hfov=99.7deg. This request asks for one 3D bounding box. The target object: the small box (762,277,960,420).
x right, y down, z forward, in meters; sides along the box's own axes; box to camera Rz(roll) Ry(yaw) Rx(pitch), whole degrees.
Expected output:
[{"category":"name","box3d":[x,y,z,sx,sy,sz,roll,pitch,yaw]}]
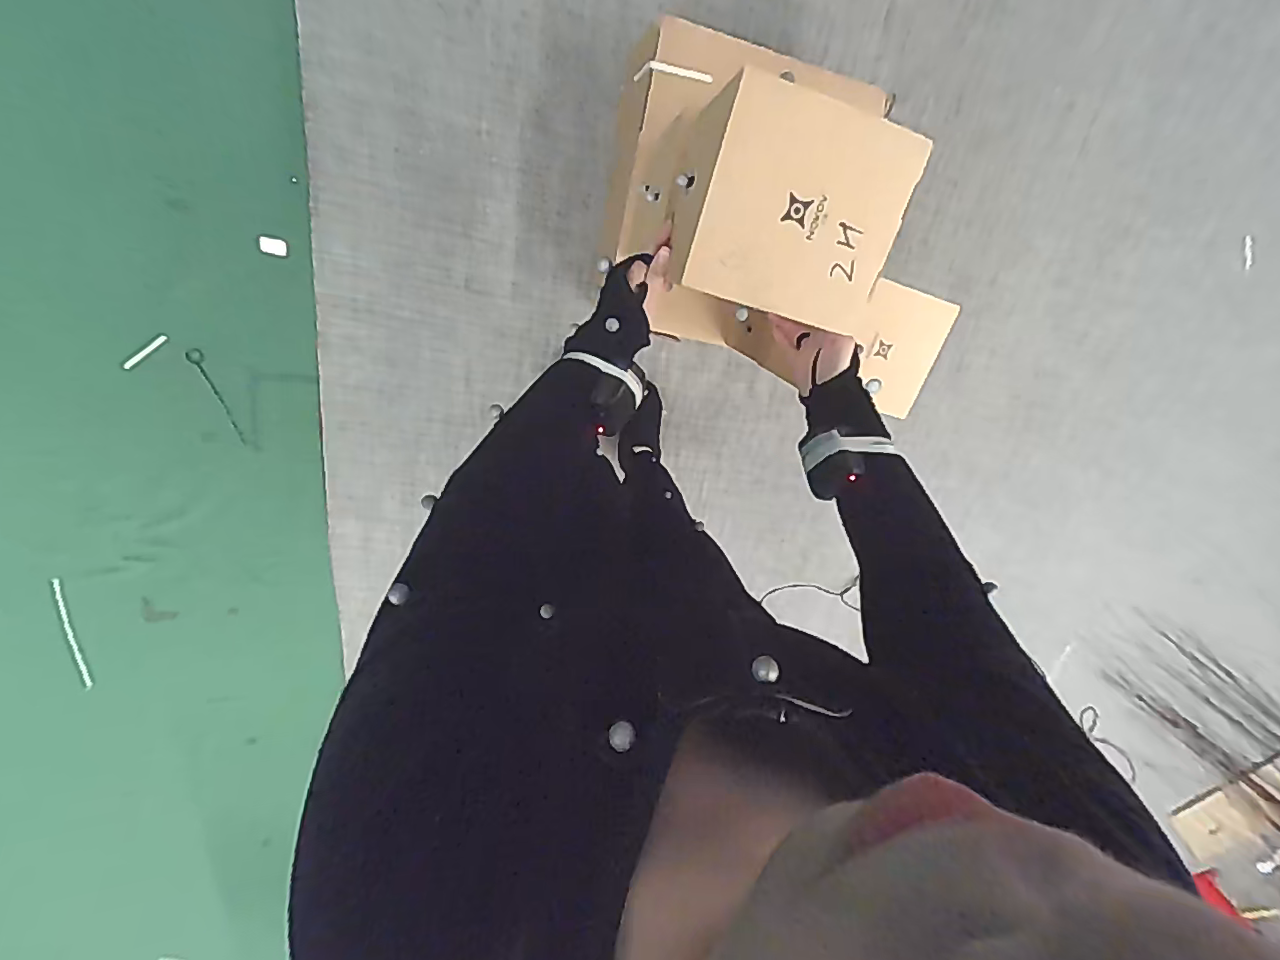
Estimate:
[{"category":"small box","box3d":[0.308,-0.207,0.792,0.179,0.176,0.168,12,112,-15]}]

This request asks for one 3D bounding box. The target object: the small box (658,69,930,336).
[{"category":"small box","box3d":[0.127,-0.255,0.530,0.179,0.176,0.168,13,112,-13]}]

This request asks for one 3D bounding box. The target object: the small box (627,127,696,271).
[{"category":"small box","box3d":[0.082,-0.411,0.845,0.168,0.176,0.179,12,110,-13]}]

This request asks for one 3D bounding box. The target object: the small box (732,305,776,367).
[{"category":"small box","box3d":[0.275,-0.282,0.934,0.168,0.176,0.179,11,111,-15]}]
